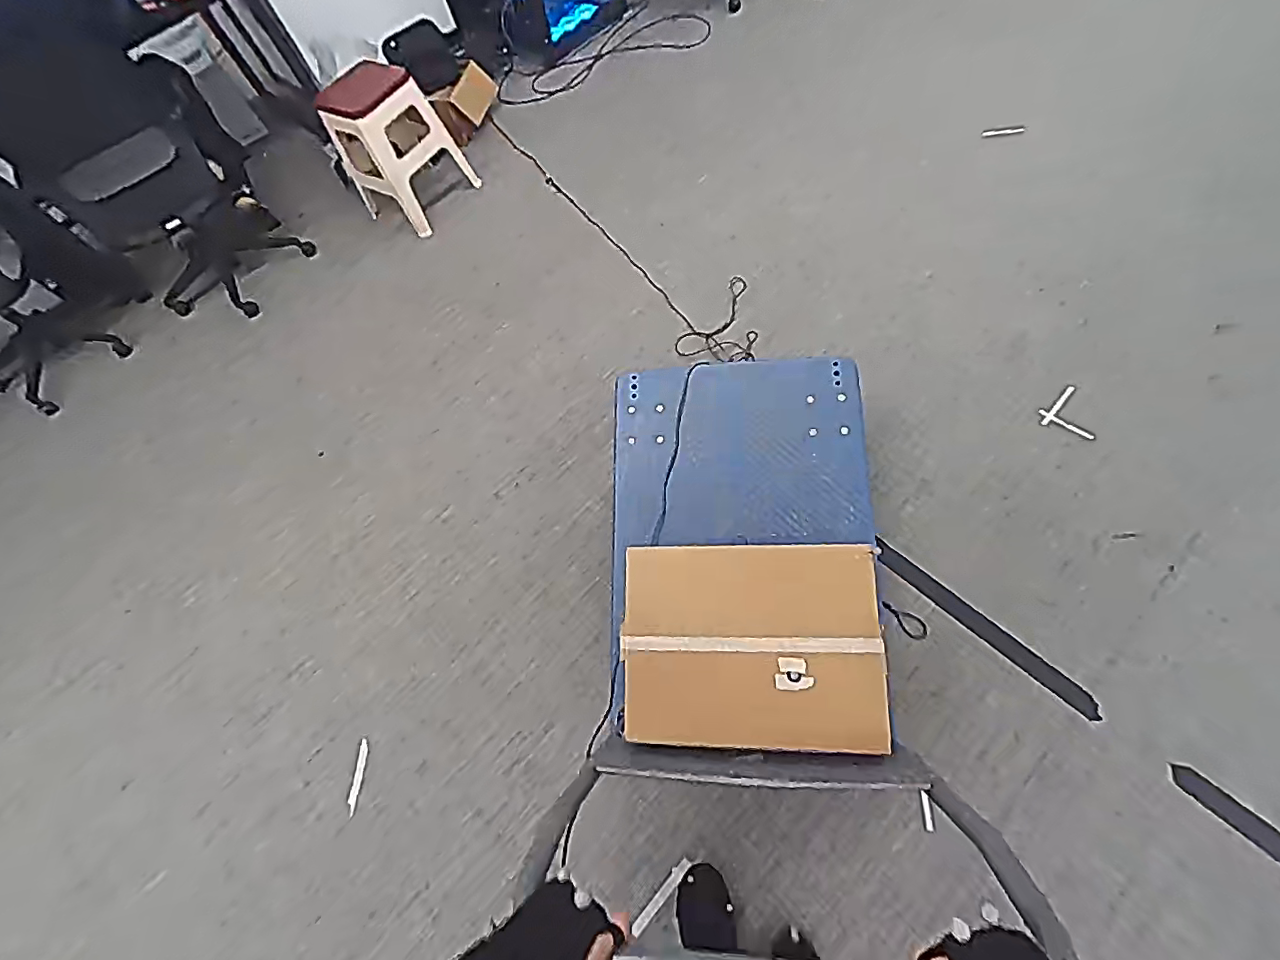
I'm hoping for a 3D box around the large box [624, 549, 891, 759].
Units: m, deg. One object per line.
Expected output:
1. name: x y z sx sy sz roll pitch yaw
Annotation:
1. large box: 0.192 0.303 0.996 0.408 0.320 0.320 -2 78 8
